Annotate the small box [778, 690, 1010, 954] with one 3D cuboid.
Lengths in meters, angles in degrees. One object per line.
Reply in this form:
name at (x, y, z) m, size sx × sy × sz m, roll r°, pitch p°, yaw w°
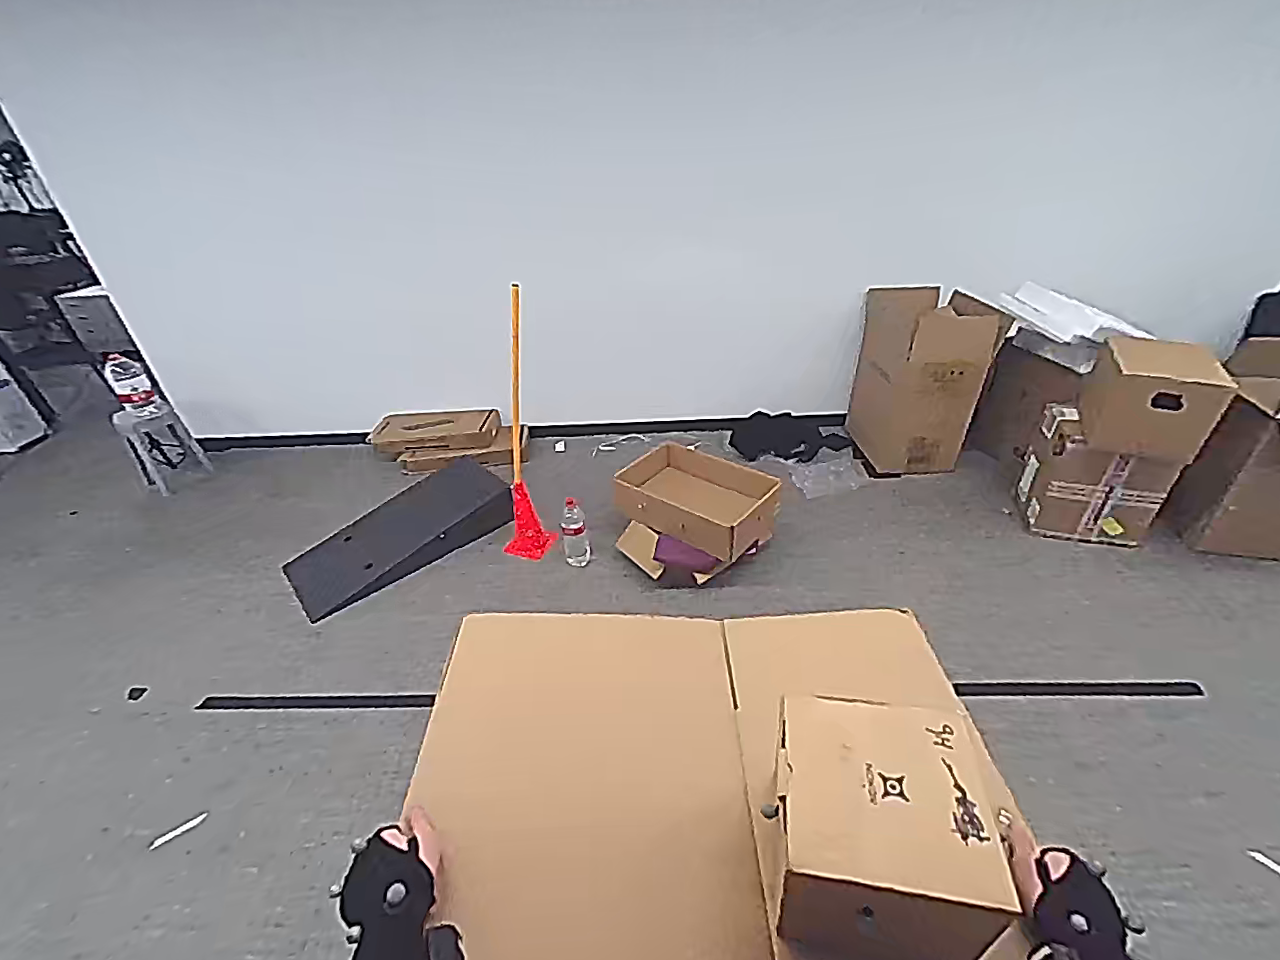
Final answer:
small box at (0.231, 0.340, 0.546) m, size 0.179 × 0.176 × 0.168 m, roll 1°, pitch 37°, yaw 13°
